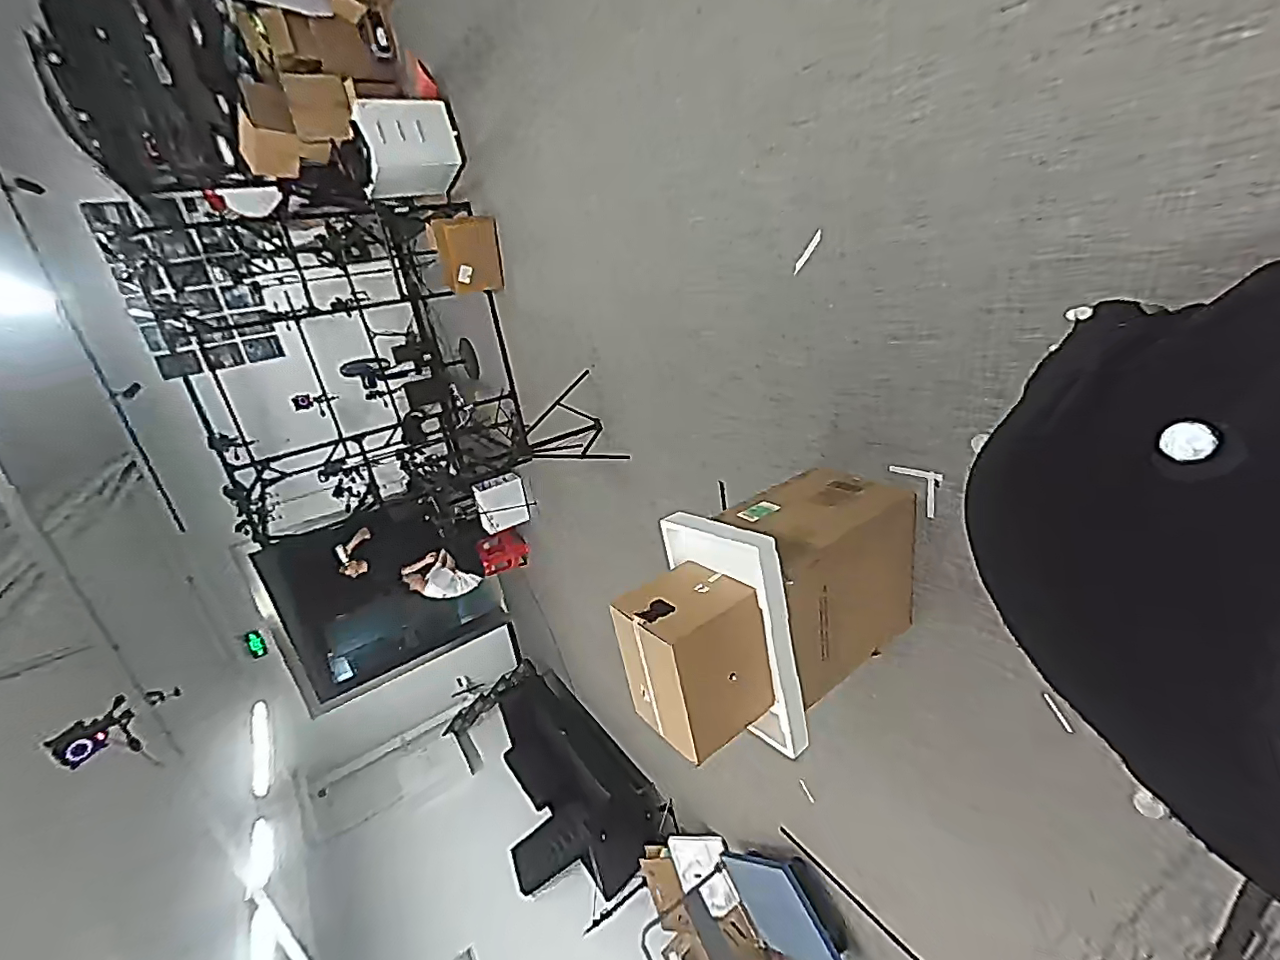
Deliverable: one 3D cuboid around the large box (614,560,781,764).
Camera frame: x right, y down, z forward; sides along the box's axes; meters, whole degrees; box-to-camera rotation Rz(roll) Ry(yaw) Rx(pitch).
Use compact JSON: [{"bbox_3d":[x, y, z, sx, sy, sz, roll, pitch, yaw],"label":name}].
[{"bbox_3d":[0.172,0.503,1.577,0.320,0.320,0.408,16,125,56],"label":"large box"}]
